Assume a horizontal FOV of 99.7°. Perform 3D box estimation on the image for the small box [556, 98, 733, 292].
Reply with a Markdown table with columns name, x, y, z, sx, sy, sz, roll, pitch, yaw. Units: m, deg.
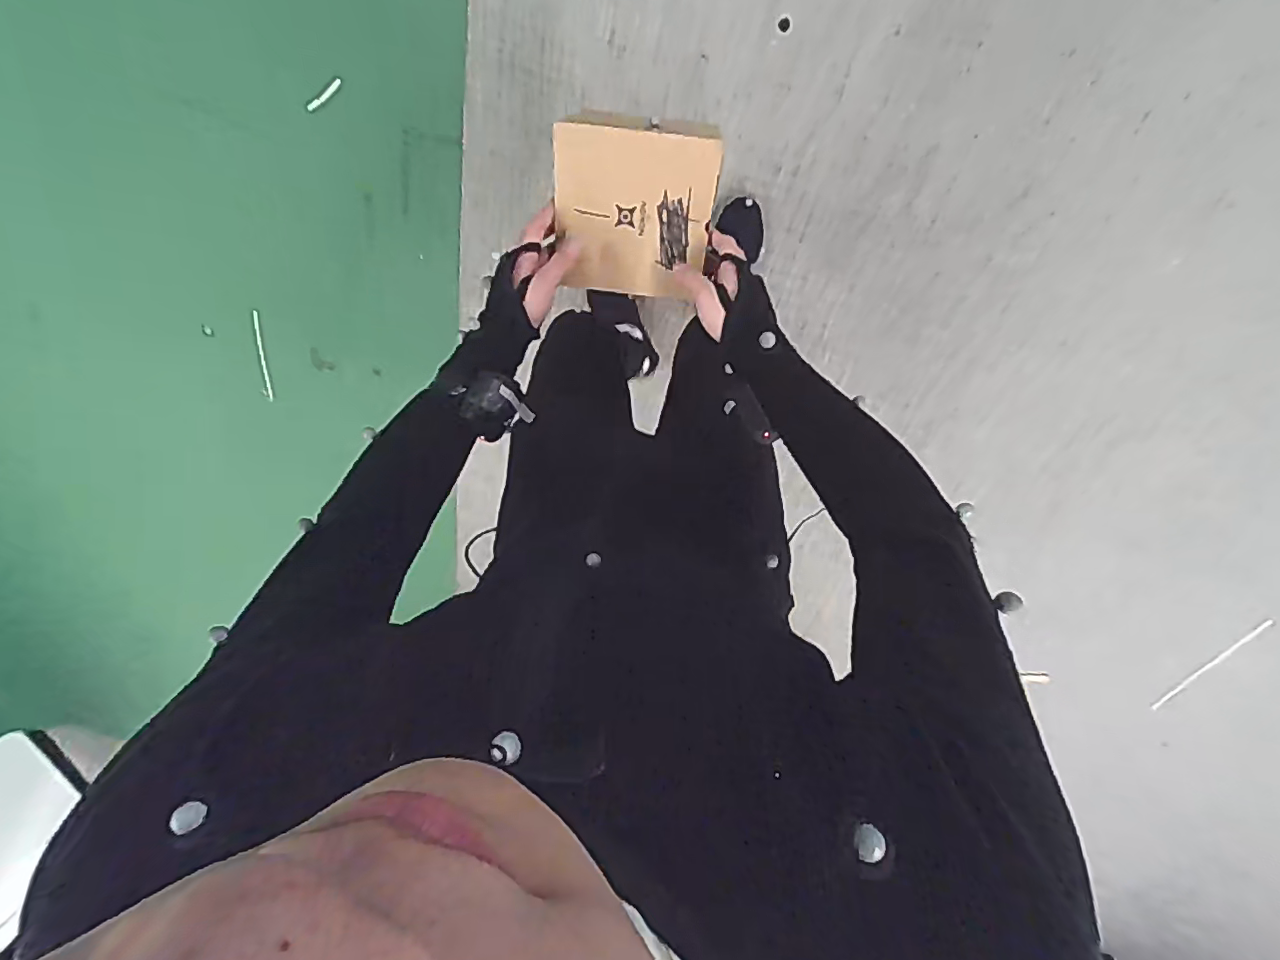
| name | x | y | z | sx | sy | sz | roll | pitch | yaw |
| --- | --- | --- | --- | --- | --- | --- | --- | --- | --- |
| small box | 0.004 | -0.339 | 0.636 | 0.179 | 0.176 | 0.168 | 8 | 127 | 1 |
